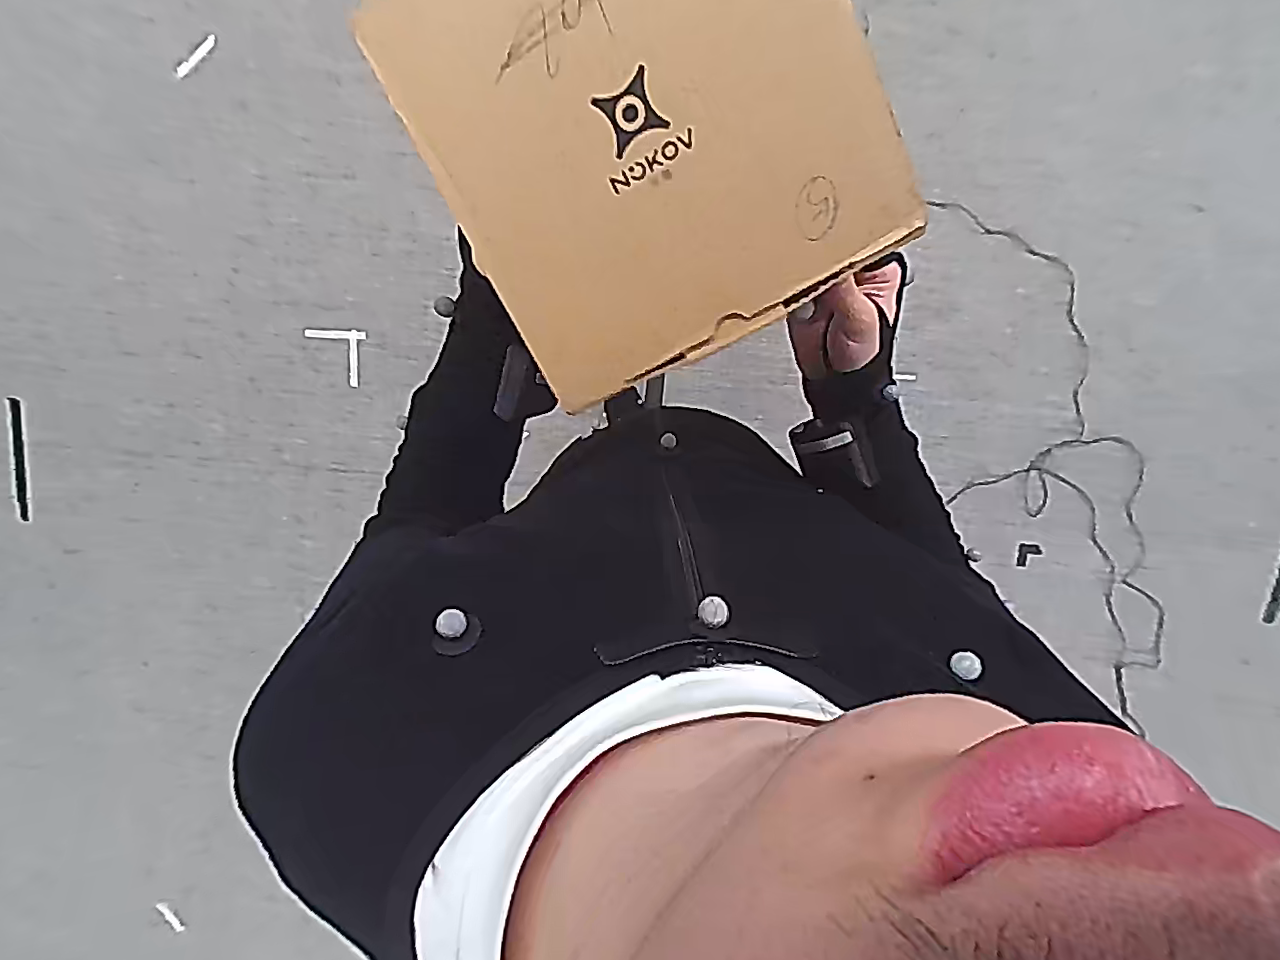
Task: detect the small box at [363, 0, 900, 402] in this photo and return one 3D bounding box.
[{"bbox_3d":[0.007,-0.168,0.293,0.168,0.176,0.179,-26,103,15],"label":"small box"}]
